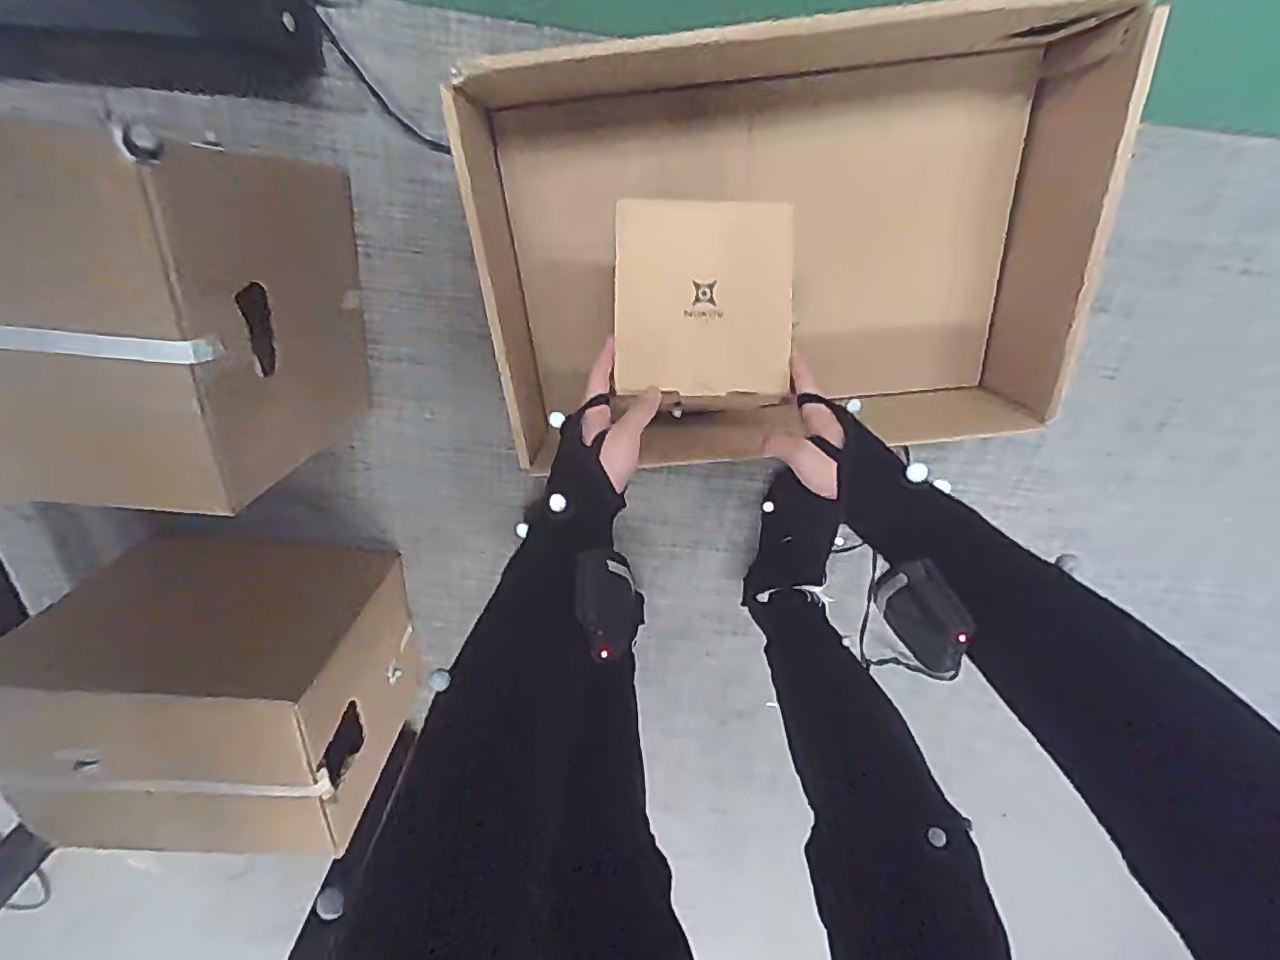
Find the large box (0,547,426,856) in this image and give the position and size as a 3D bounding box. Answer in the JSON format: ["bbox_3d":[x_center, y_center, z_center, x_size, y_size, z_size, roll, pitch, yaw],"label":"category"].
[{"bbox_3d":[-0.594,0.315,0.821,0.408,0.320,0.320,3,114,-1],"label":"large box"}]

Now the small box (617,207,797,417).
[{"bbox_3d":[0.059,-0.163,0.577,0.168,0.176,0.179,0,92,-2],"label":"small box"}]
